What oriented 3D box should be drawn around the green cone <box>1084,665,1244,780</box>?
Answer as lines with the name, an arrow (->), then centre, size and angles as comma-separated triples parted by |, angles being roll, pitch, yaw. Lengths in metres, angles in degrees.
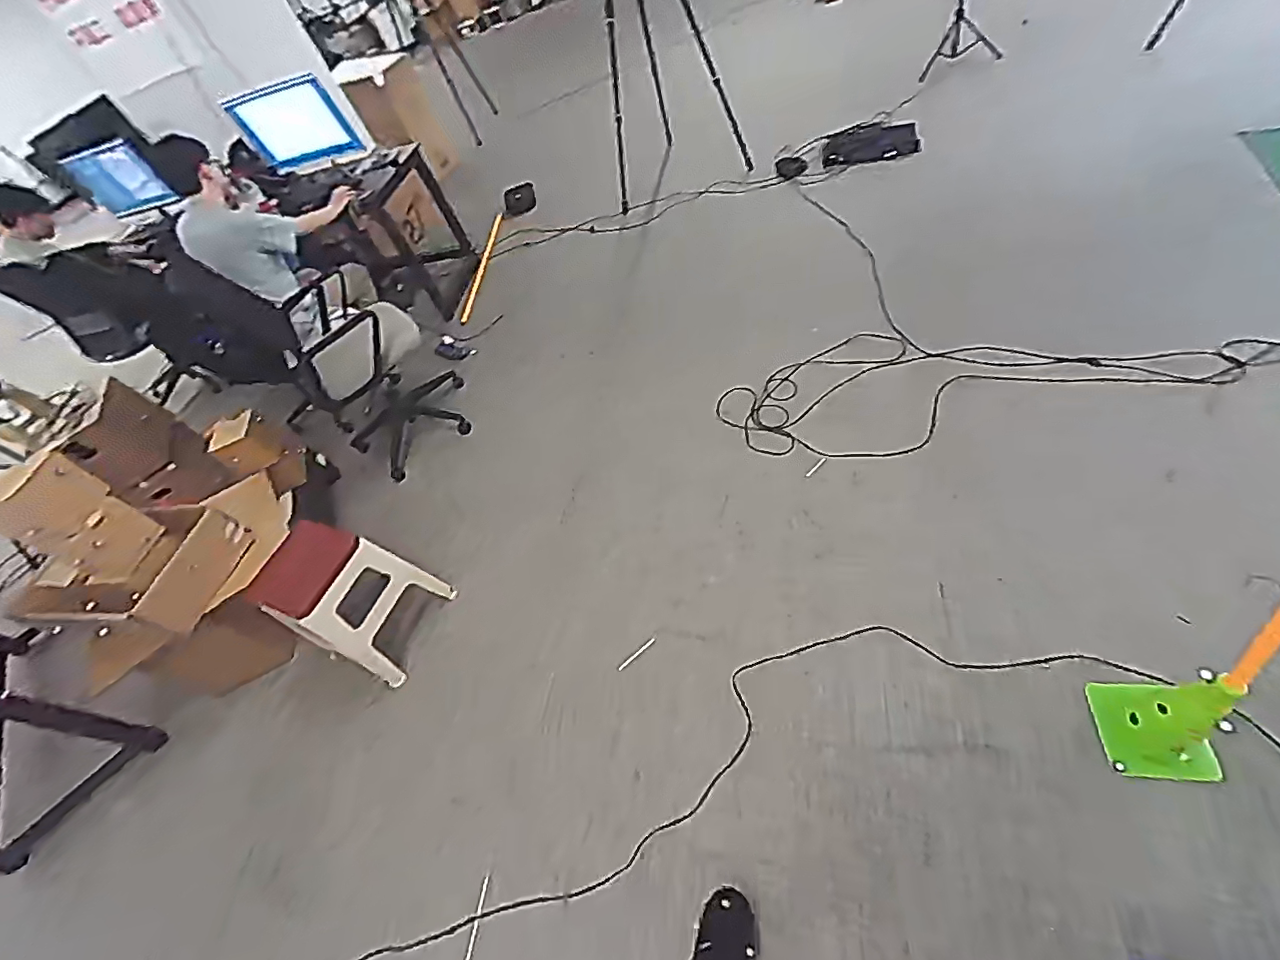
green cone -> 1.104, 0.458, 1.092 | 0.200, 0.368, 0.202 | -5, 52, 17
